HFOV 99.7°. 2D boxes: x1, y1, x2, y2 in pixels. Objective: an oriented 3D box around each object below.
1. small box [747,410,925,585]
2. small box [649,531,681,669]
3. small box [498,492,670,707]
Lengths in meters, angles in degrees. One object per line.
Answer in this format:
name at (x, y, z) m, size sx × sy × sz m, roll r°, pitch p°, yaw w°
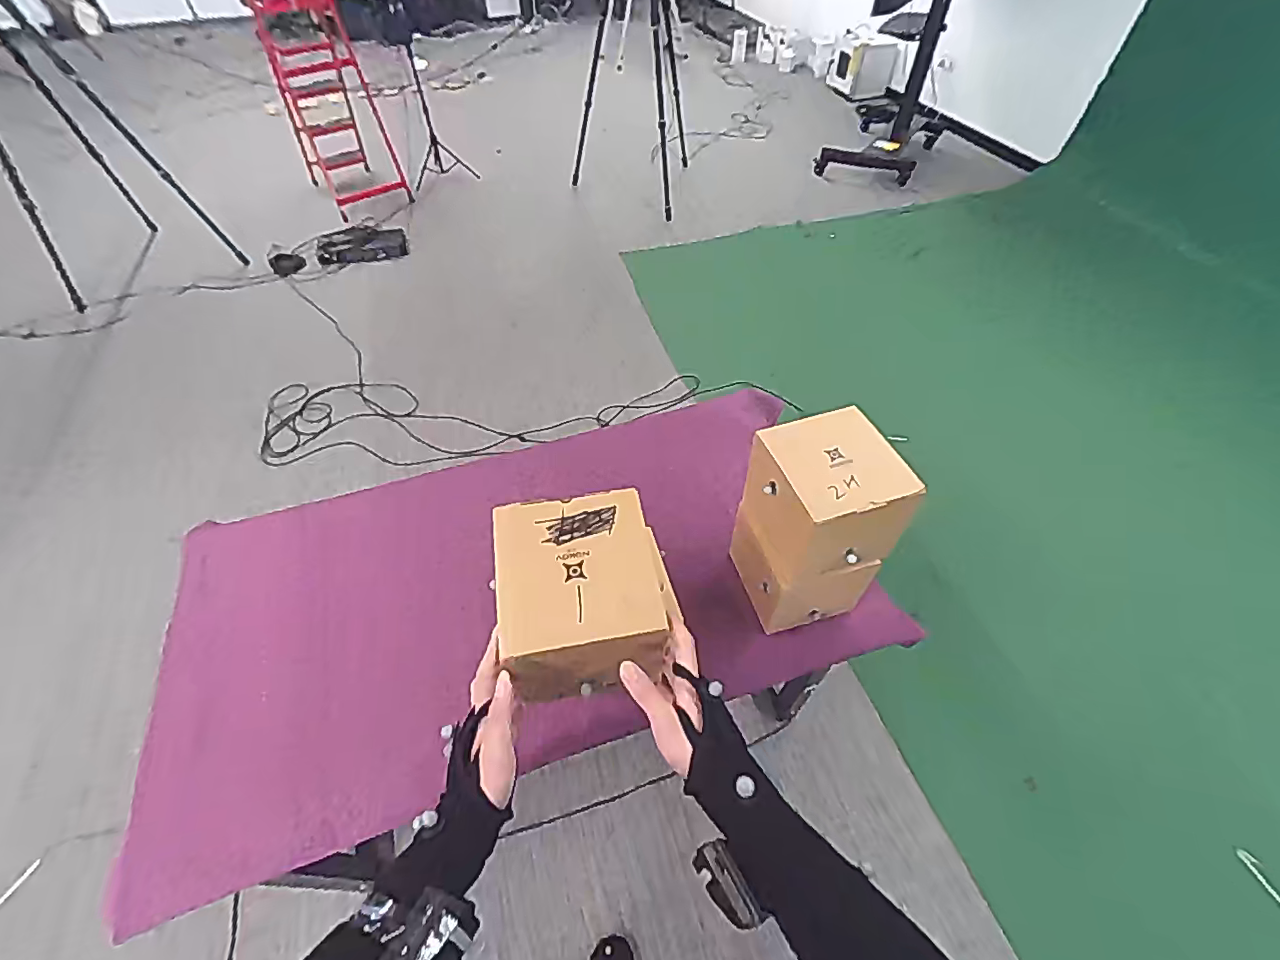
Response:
small box at (0.272, 0.027, 0.803) m, size 0.168 × 0.176 × 0.179 m, roll -15°, pitch 52°, yaw -9°
small box at (-0.036, 0.213, 0.874) m, size 0.168 × 0.176 × 0.179 m, roll -13°, pitch 50°, yaw -9°
small box at (-0.067, 0.139, 0.624) m, size 0.168 × 0.176 × 0.179 m, roll -8°, pitch 54°, yaw -7°
